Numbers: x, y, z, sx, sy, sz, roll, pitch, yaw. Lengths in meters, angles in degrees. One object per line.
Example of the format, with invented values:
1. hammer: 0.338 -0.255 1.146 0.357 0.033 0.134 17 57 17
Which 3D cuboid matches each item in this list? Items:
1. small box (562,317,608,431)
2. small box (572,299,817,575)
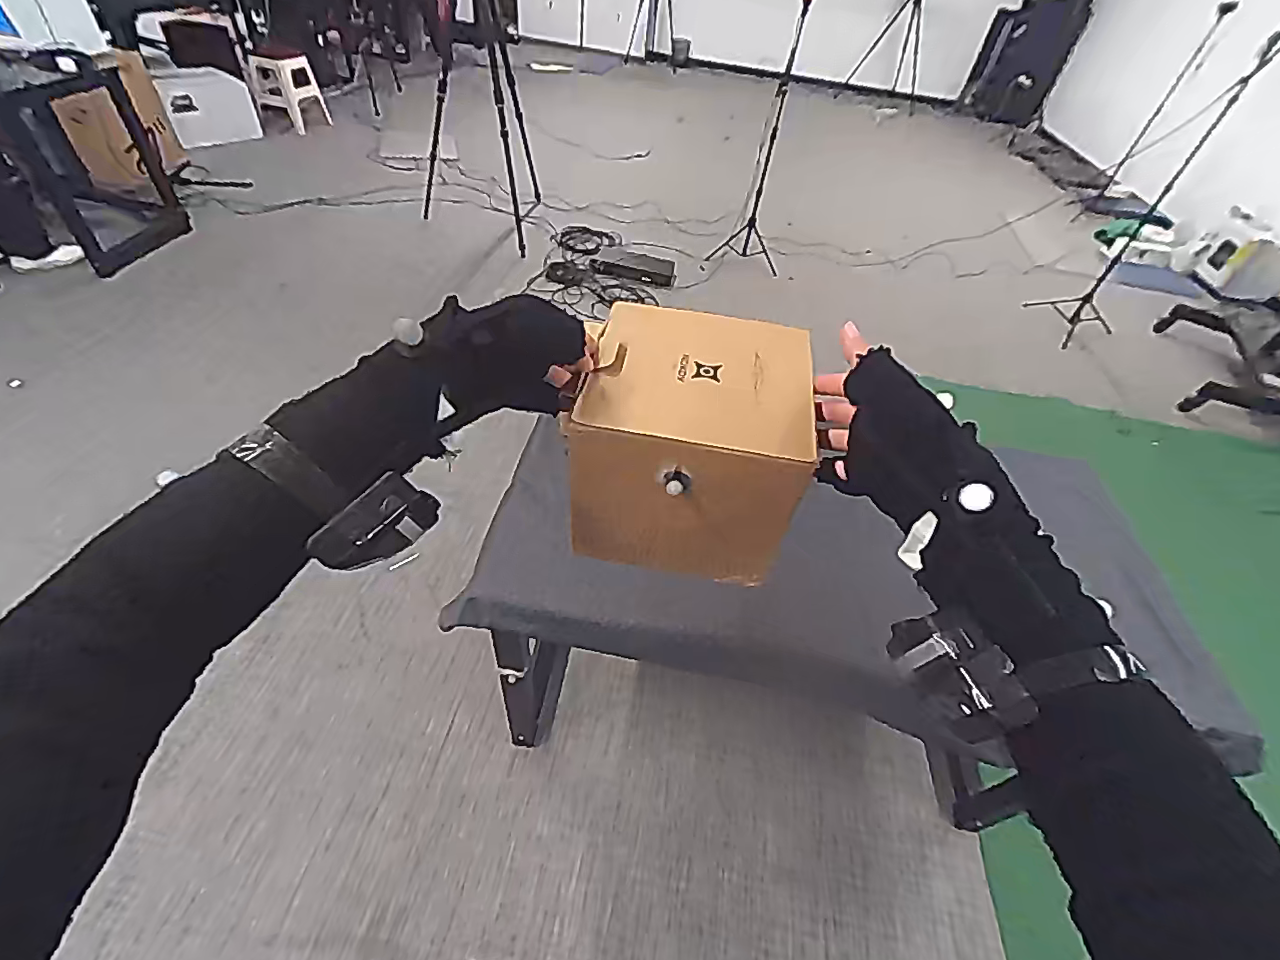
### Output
1. small box: -0.054 -0.199 1.090 0.179 0.176 0.168 11 47 0
2. small box: 0.043 -0.034 0.484 0.179 0.176 0.168 11 49 2
